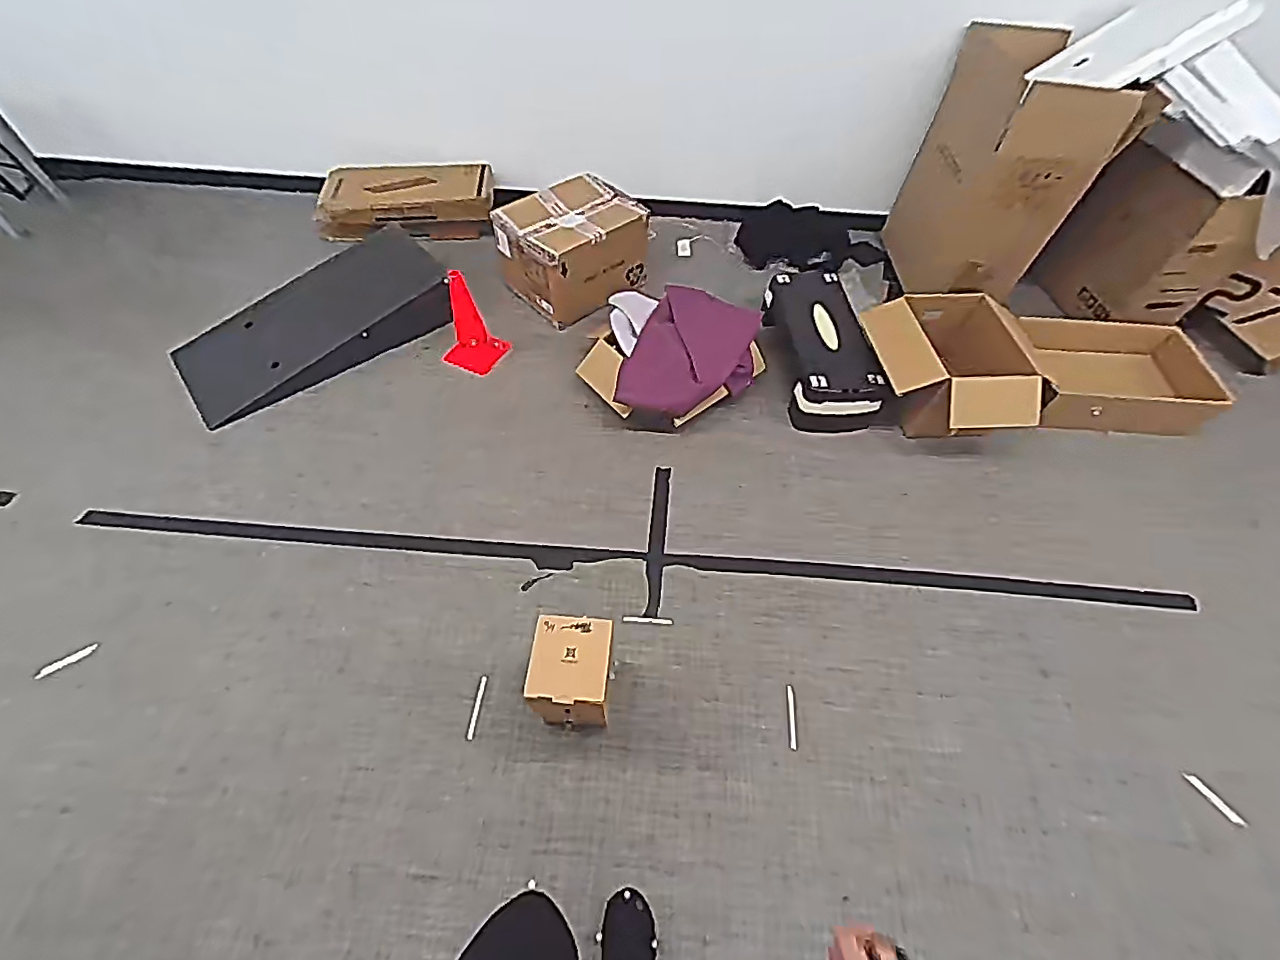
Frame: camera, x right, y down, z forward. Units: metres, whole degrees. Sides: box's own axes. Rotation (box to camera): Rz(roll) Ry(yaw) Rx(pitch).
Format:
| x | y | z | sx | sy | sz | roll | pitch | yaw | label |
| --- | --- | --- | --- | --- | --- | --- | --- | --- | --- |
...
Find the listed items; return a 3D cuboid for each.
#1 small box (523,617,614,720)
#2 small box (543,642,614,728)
| x | y | z | sx | sy | sz | roll | pitch | yaw | label |
| --- | --- | --- | --- | --- | --- | --- | --- | --- | --- |
| -0.147 | 0.419 | 1.189 | 0.168 | 0.176 | 0.179 | 4 | 56 | 2 | small box |
| -0.152 | 0.499 | 1.333 | 0.168 | 0.176 | 0.179 | 3 | 56 | 2 | small box |
